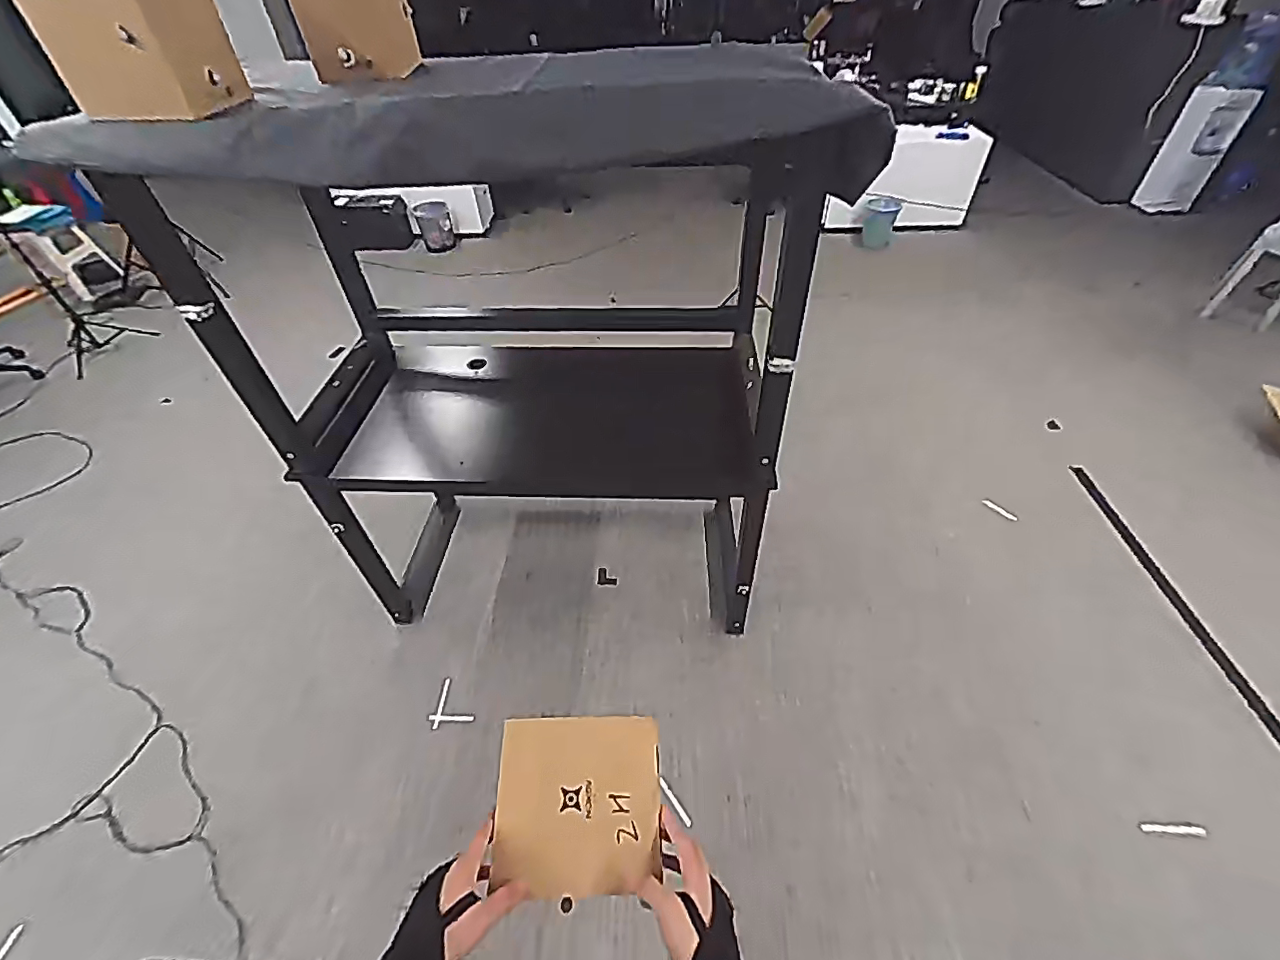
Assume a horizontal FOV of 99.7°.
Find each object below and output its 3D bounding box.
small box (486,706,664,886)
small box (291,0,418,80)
[{"bbox_3d":[-0.068,0.368,0.633,0.179,0.176,0.168,1,58,-4],"label":"small box"},{"bbox_3d":[-0.547,-0.888,1.042,0.168,0.176,0.179,-5,45,-1],"label":"small box"}]
